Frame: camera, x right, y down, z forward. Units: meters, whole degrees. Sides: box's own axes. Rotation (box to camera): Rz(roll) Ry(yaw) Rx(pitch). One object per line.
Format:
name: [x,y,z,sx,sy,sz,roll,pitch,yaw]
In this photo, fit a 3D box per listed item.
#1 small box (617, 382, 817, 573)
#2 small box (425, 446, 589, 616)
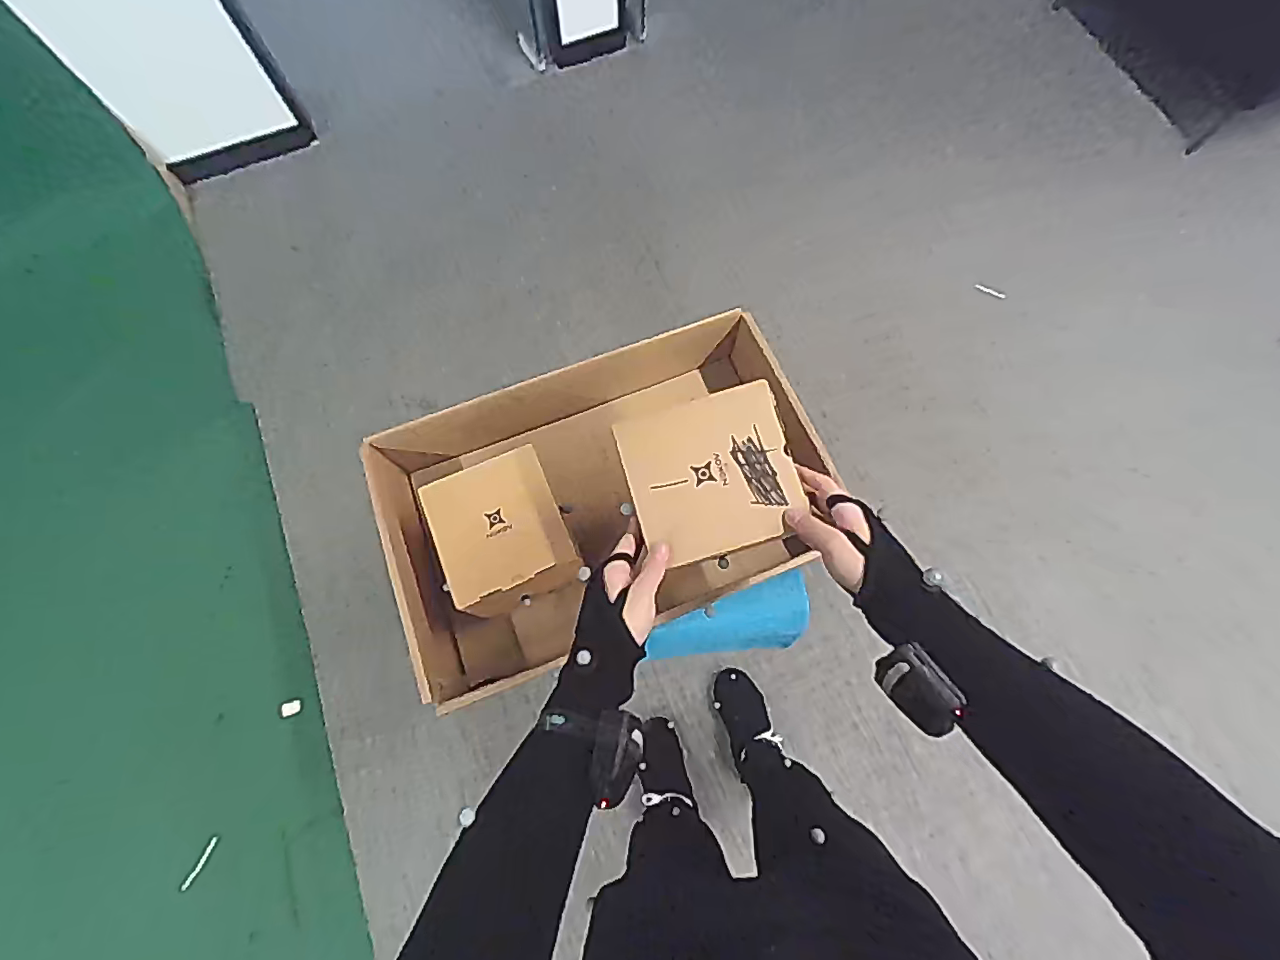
small box: [0.080,0.007,0.642,0.179,0.176,0.168,-17,78,-1]
small box: [-0.183,0.082,0.784,0.168,0.176,0.179,-23,73,-8]
